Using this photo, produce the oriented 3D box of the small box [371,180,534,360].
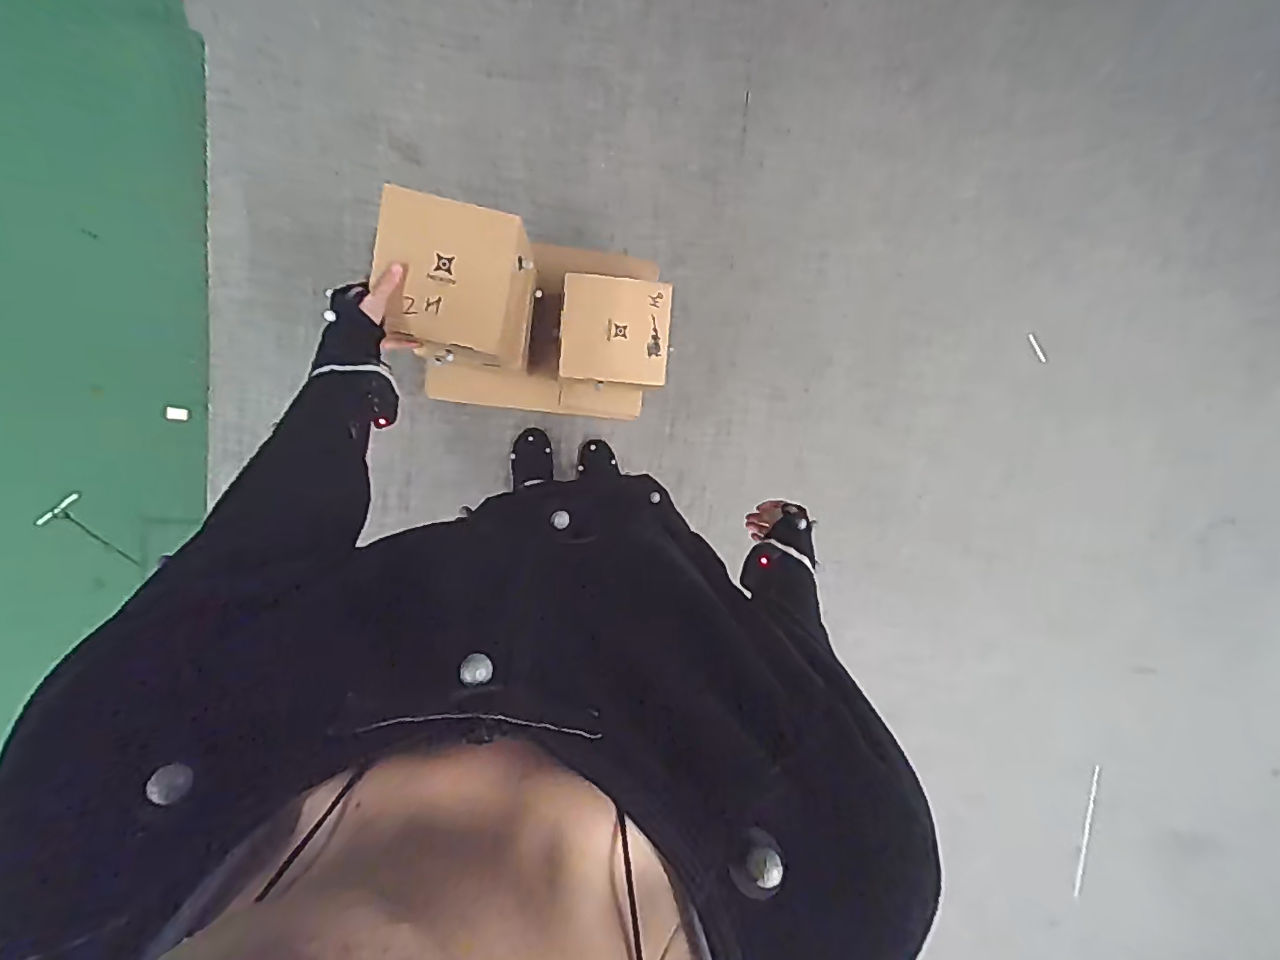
[{"bbox_3d":[-0.246,-0.275,0.750,0.168,0.176,0.179,11,97,-6],"label":"small box"}]
